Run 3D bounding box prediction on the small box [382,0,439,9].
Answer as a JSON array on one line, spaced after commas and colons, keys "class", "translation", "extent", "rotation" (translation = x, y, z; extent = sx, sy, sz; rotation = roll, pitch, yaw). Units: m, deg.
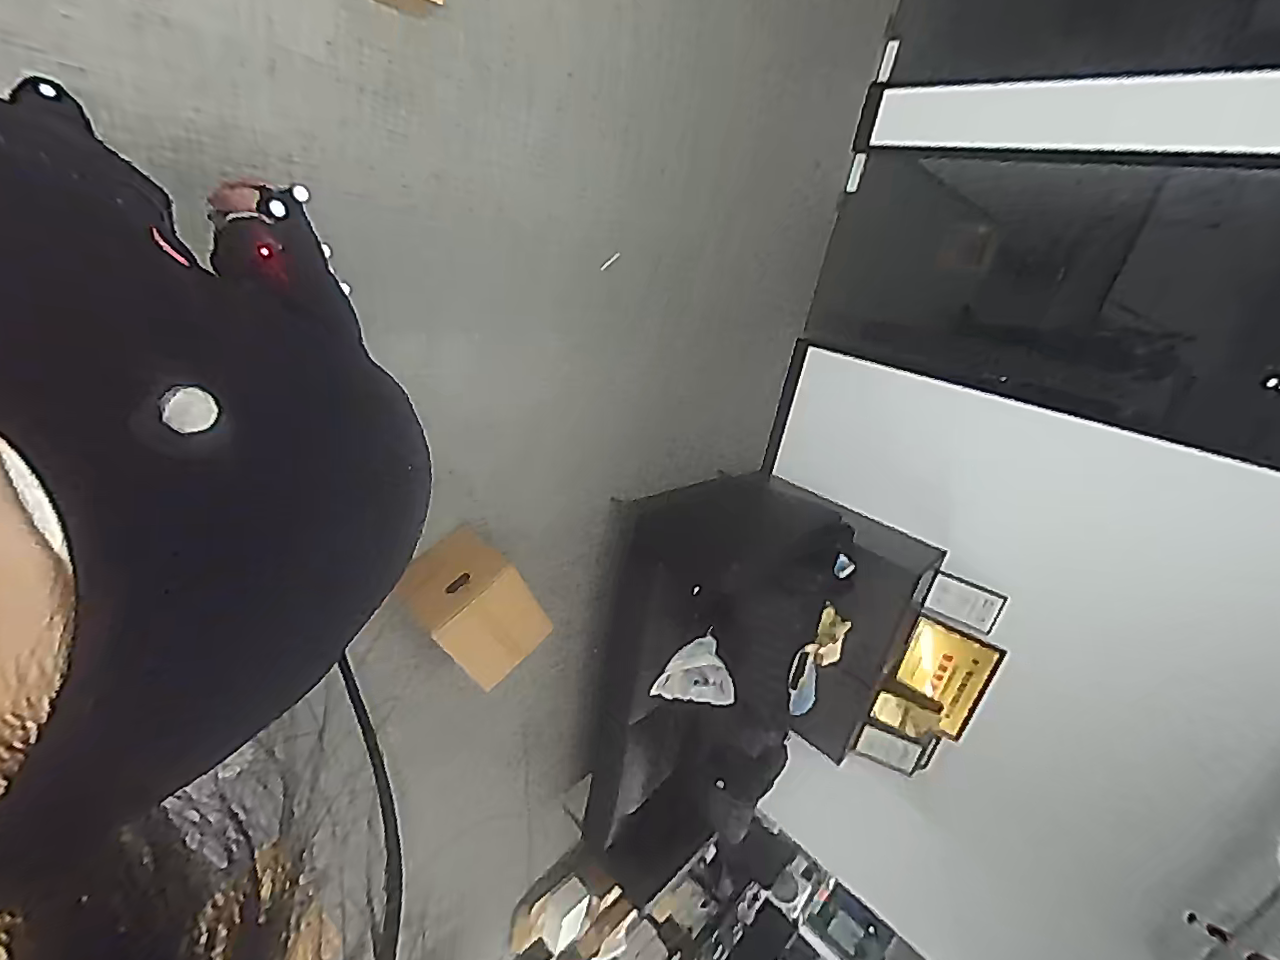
[{"class": "small box", "translation": [-0.505, -1.083, 1.070], "extent": [0.168, 0.176, 0.179], "rotation": [-13, 122, -45]}]
